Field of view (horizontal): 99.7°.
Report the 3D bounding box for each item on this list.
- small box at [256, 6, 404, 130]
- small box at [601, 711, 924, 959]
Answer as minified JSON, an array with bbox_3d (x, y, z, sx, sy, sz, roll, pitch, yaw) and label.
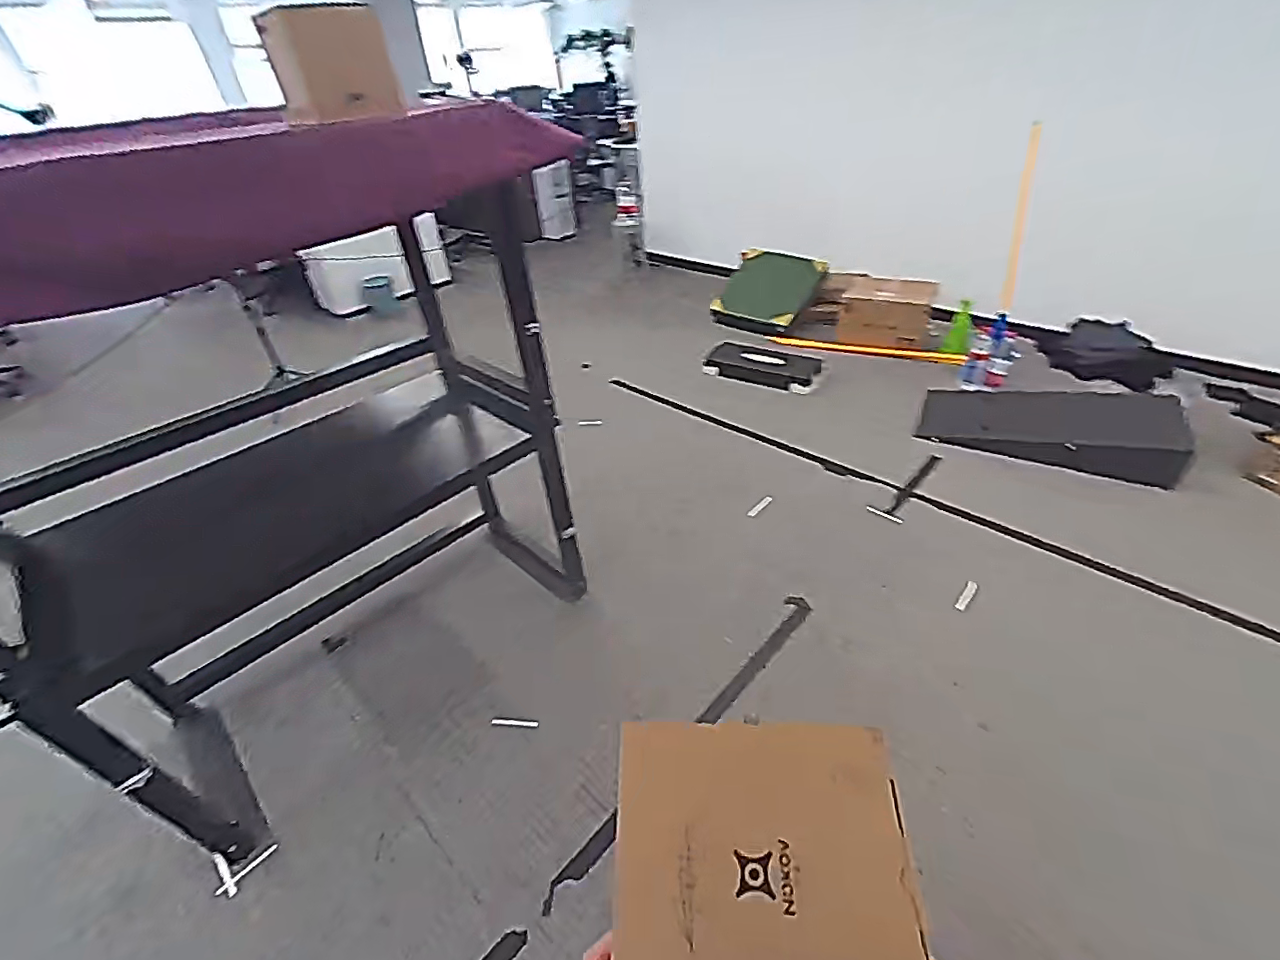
[{"bbox_3d":[-0.570,-0.771,1.020,0.168,0.176,0.179,27,48,37],"label":"small box"},{"bbox_3d":[0.074,0.269,0.382,0.179,0.176,0.168,-2,55,6],"label":"small box"}]
